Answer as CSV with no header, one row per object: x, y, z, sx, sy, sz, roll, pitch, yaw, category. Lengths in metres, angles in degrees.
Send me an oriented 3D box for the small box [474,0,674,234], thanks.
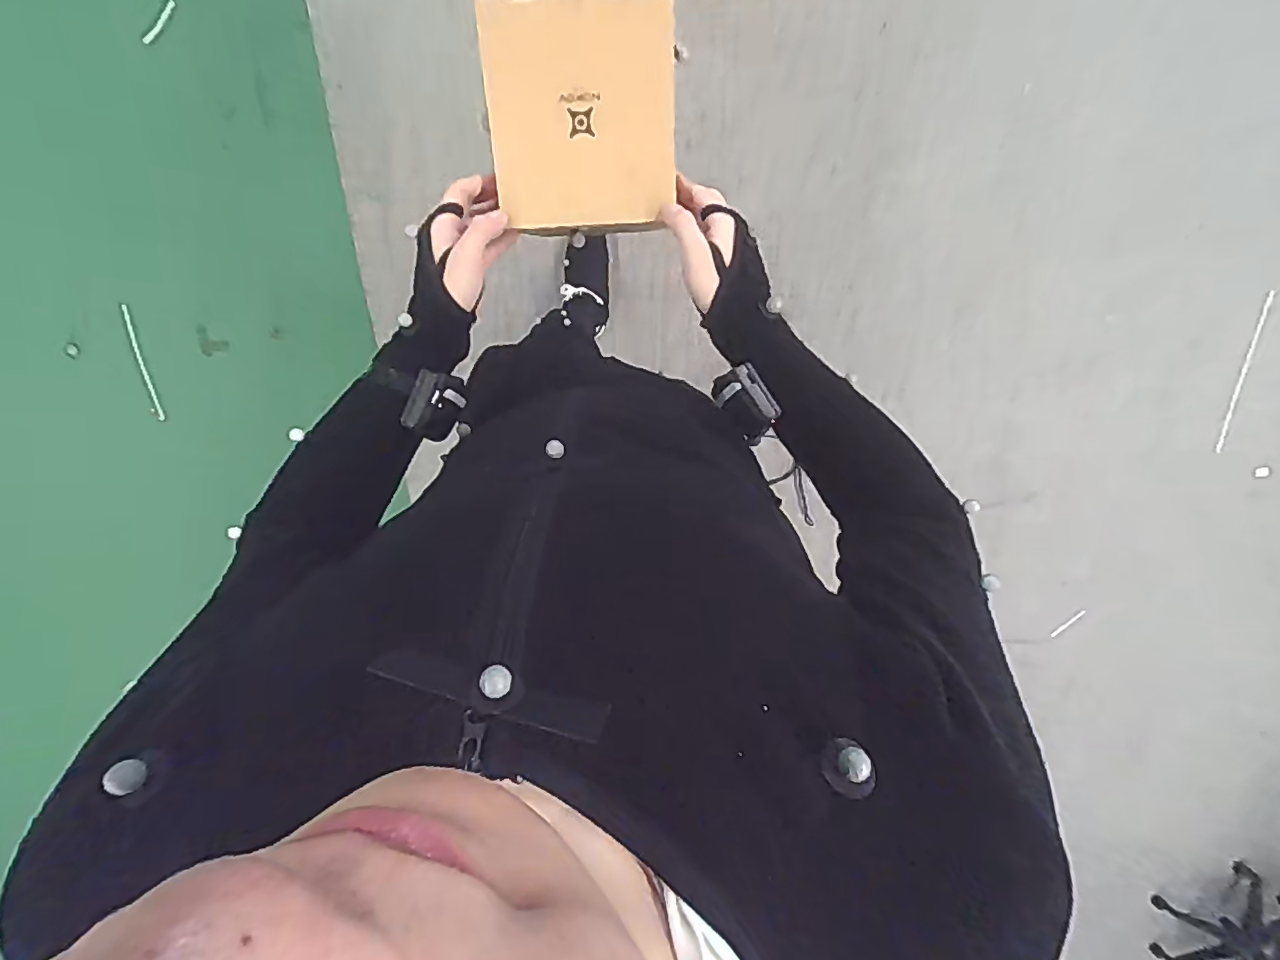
-0.049,-0.349,0.547,0.168,0.176,0.179,-2,111,4,small box
